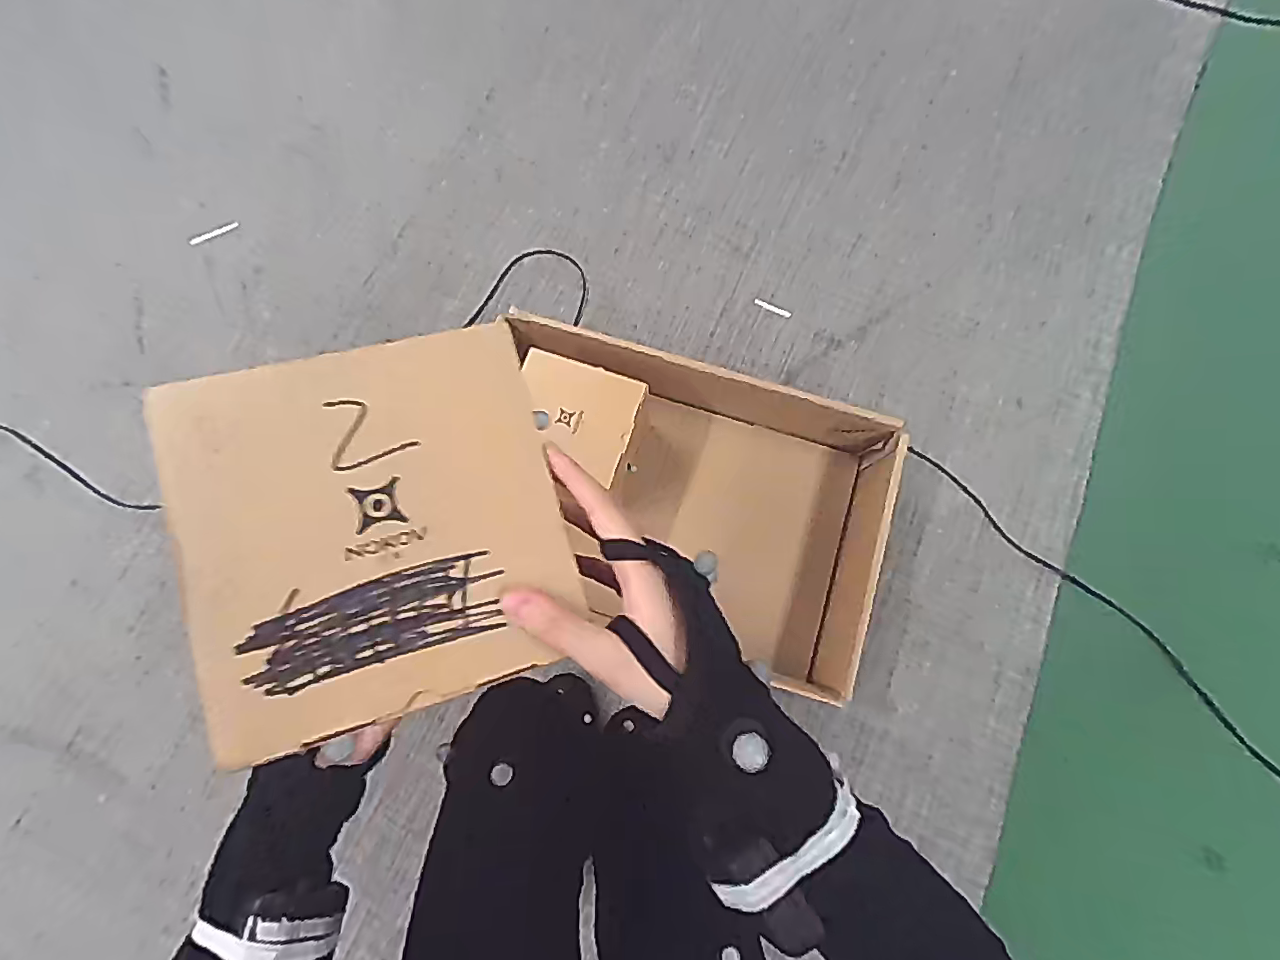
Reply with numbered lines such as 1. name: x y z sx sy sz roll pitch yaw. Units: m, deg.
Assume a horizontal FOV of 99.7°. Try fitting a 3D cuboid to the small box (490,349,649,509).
1. small box: -0.094 -0.065 0.809 0.179 0.176 0.168 18 79 4
